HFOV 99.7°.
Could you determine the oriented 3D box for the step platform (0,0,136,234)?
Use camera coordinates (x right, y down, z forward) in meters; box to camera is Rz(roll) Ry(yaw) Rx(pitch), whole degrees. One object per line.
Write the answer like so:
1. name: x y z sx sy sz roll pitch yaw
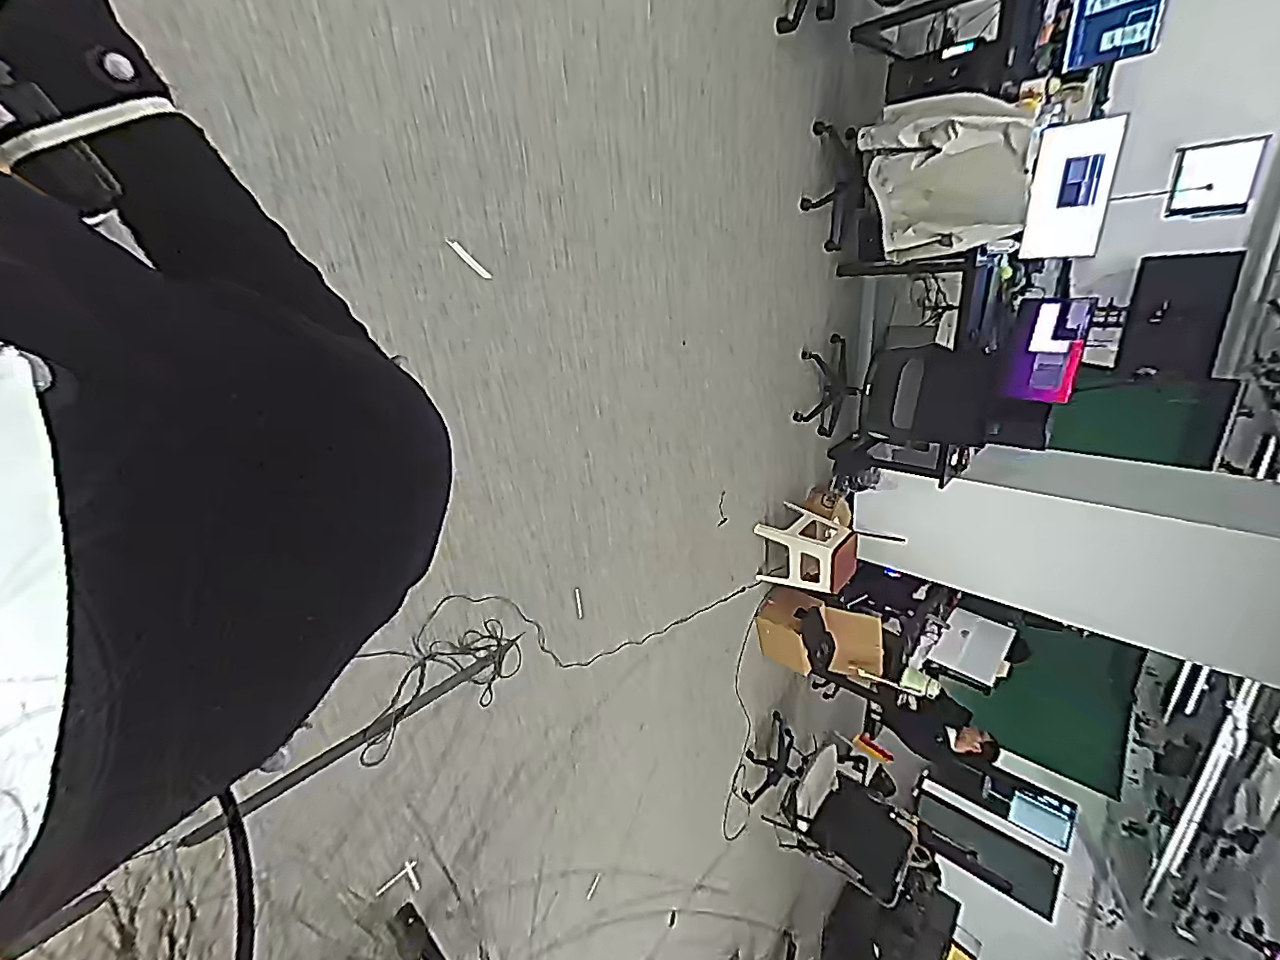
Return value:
1. step platform: -1.029 -0.416 0.588 0.684 0.204 0.286 -28 121 -40
